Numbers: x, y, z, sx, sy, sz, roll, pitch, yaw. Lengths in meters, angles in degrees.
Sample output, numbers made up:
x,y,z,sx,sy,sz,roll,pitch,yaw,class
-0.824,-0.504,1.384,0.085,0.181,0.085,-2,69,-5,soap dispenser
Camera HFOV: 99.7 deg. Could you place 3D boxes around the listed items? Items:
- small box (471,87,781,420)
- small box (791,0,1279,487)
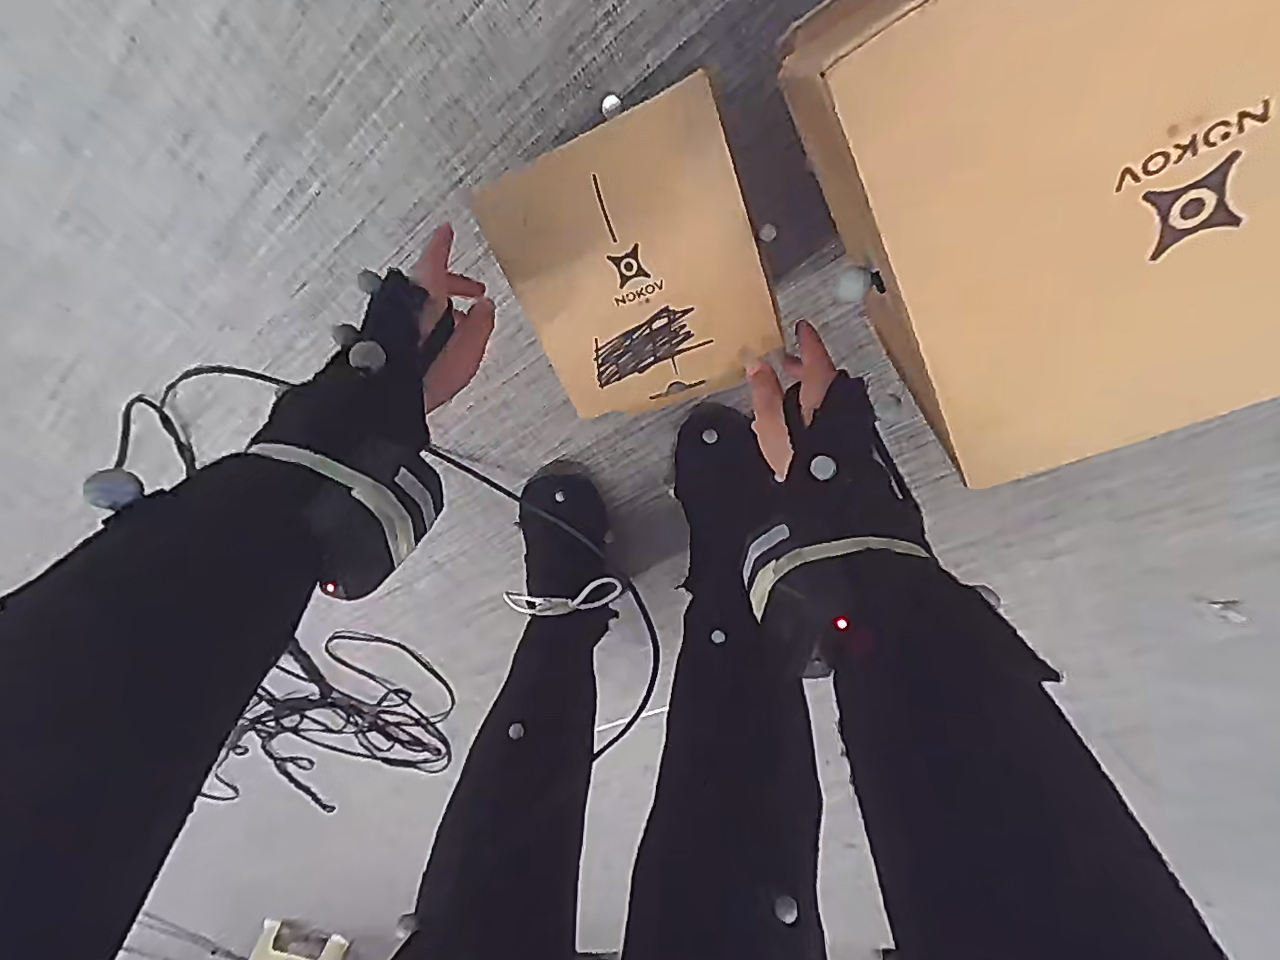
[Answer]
x,y,z,sx,sy,sz,roll,pitch,yaw,class
0.007,-0.179,0.428,0.168,0.176,0.179,-15,121,19,small box
0.177,-0.133,0.231,0.168,0.176,0.179,-23,119,24,small box
